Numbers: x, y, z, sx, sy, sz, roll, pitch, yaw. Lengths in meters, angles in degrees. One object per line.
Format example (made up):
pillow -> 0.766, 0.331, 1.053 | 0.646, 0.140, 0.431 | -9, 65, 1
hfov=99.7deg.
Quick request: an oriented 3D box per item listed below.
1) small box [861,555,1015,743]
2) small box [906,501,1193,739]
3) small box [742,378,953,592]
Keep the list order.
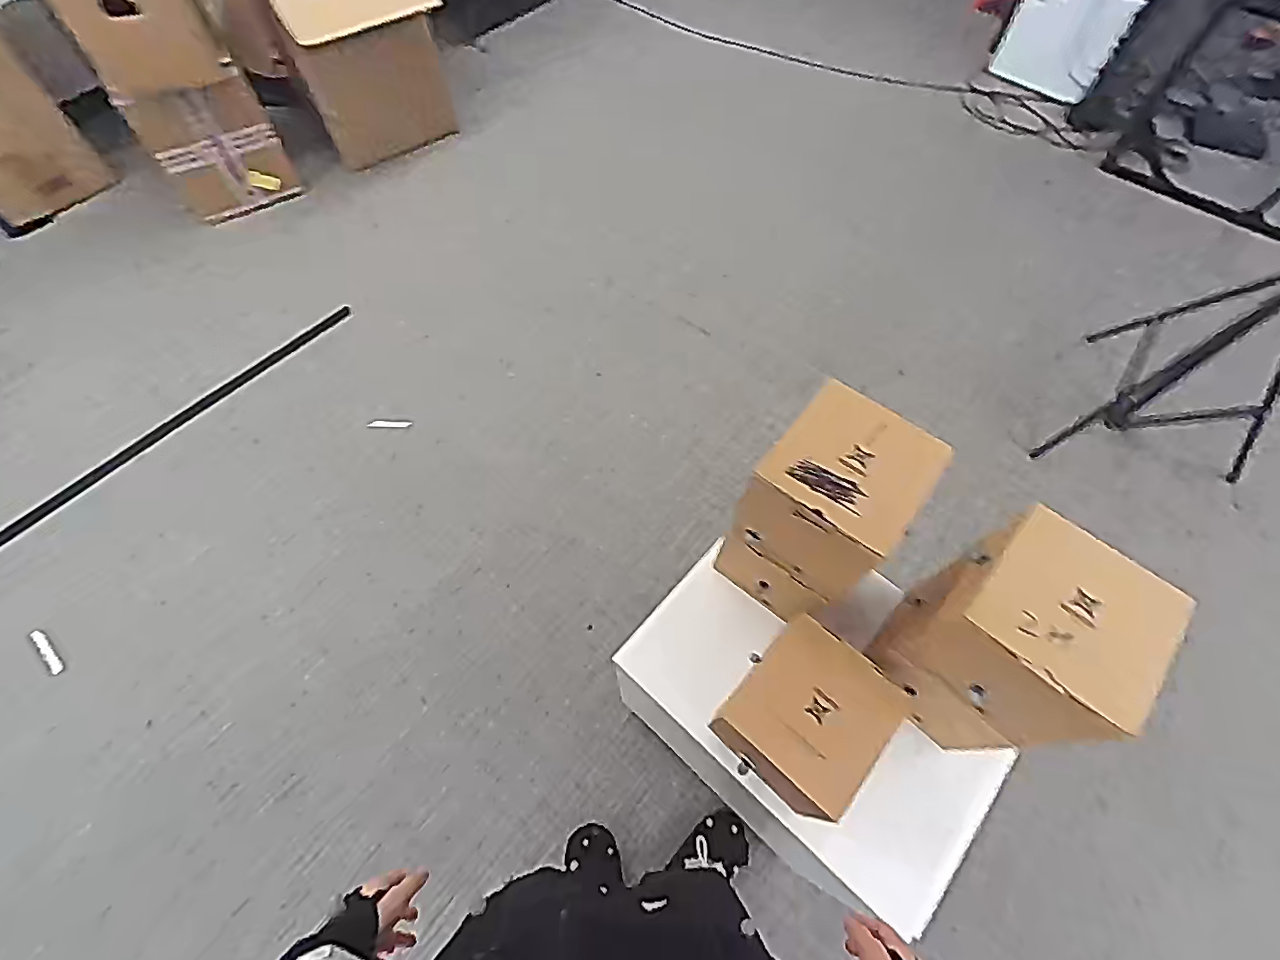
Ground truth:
small box -> 0.437, 0.243, 0.754 | 0.168, 0.176, 0.179 | 40, 70, 20
small box -> 0.438, 0.162, 0.608 | 0.168, 0.176, 0.179 | 39, 69, 19
small box -> 0.245, 0.014, 0.685 | 0.168, 0.176, 0.179 | 36, 68, 17
